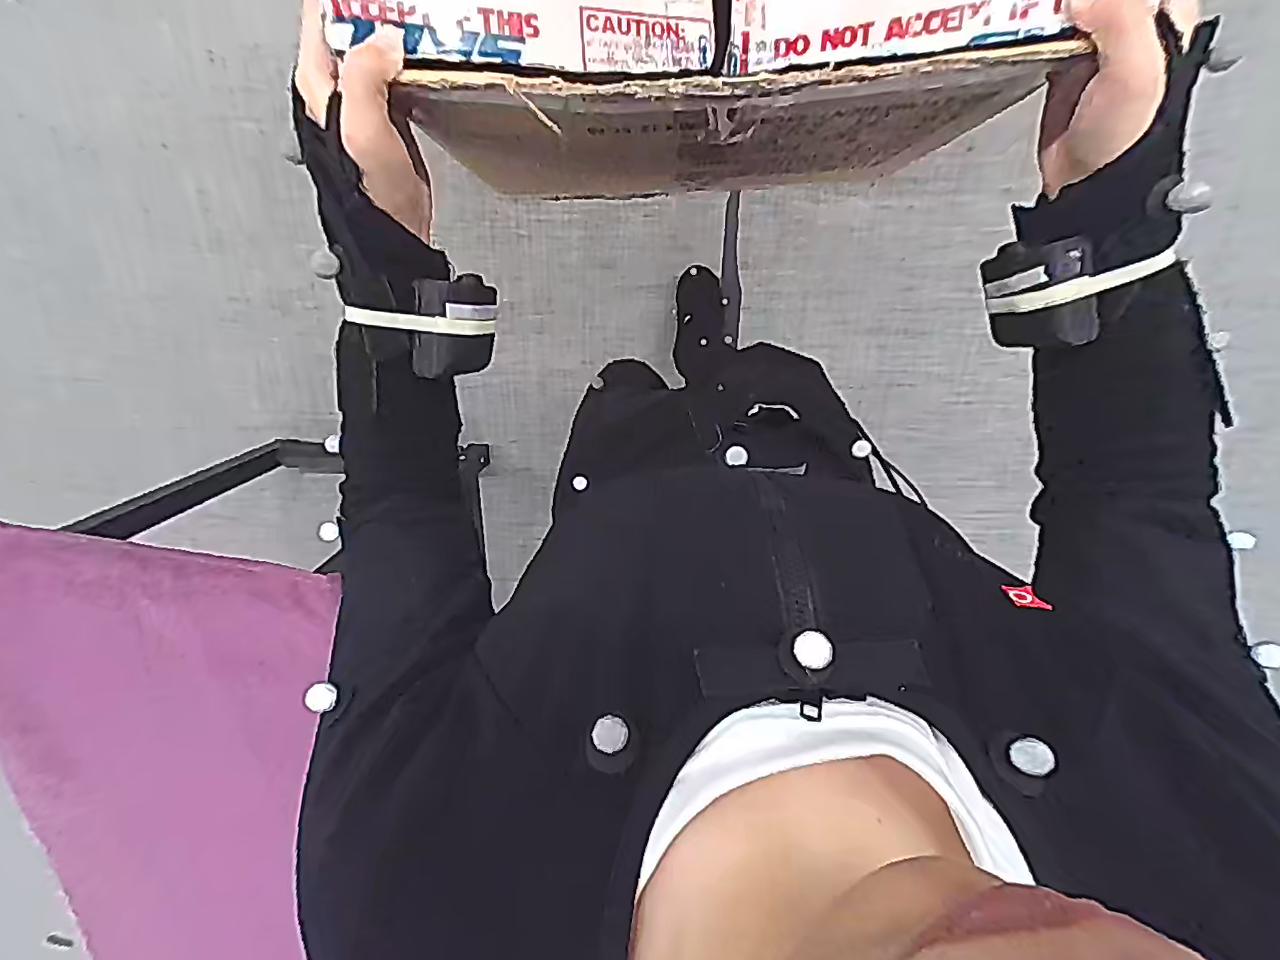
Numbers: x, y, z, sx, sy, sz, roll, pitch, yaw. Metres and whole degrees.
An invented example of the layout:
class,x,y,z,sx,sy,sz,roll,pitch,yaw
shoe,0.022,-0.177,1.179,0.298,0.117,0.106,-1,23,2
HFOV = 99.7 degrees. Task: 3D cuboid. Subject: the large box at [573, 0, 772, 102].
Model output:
class,x,y,z,sx,sy,sz,roll,pitch,yaw
large box,0.051,-0.929,0.923,0.320,0.320,0.408,1,111,4
